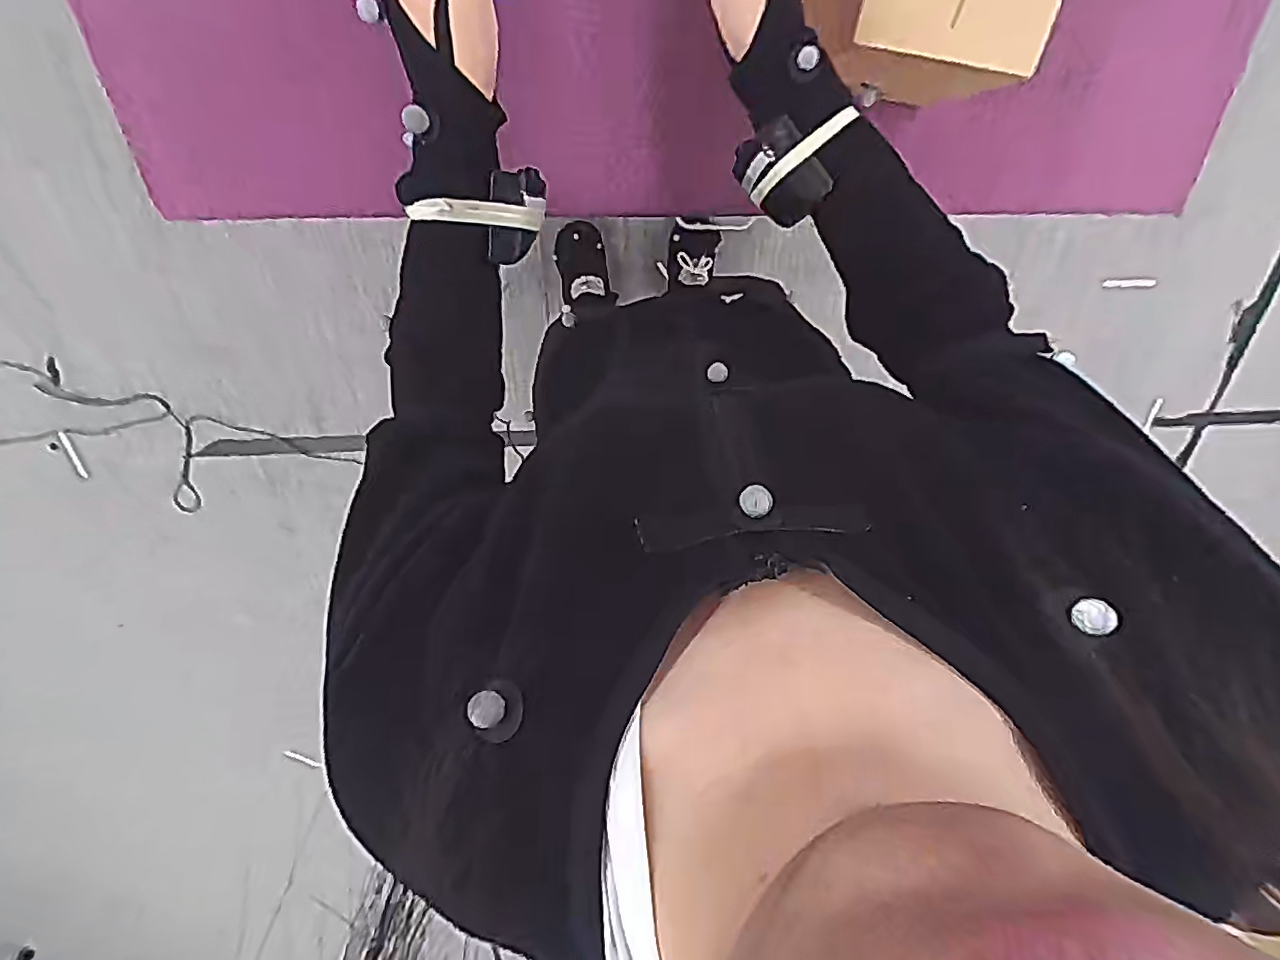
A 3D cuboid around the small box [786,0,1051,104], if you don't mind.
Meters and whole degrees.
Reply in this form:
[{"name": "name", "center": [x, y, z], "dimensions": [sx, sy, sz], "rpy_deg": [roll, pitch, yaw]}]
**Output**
[{"name": "small box", "center": [0.248, -0.462, 0.480], "dimensions": [0.168, 0.176, 0.179], "rpy_deg": [4, 118, -8]}]
